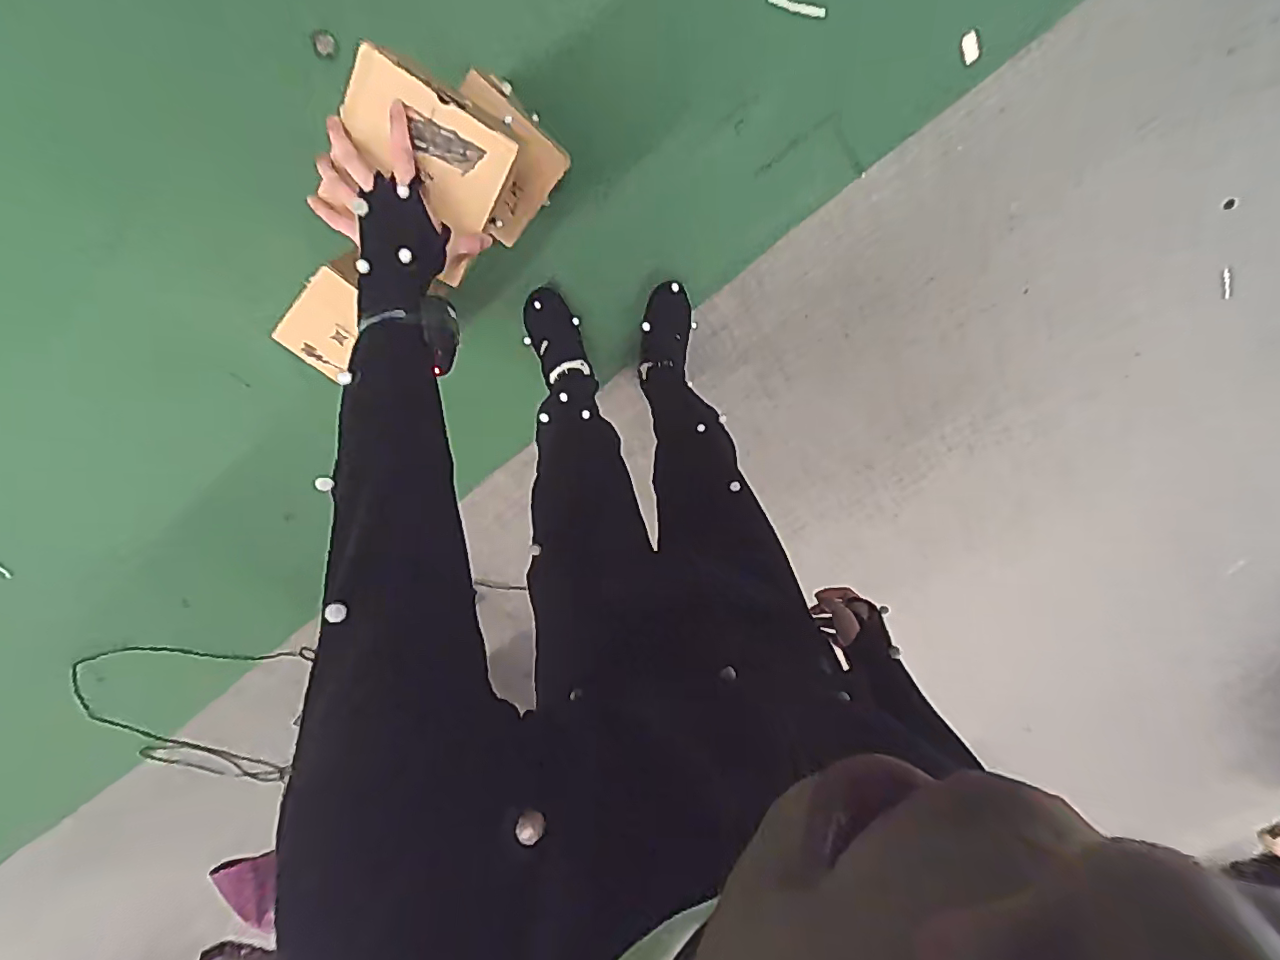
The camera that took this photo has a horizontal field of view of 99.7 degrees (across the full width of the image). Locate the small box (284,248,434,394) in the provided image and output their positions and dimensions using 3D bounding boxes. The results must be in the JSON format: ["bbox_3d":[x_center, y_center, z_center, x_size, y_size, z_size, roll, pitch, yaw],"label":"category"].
[{"bbox_3d":[-0.509,-0.301,1.009,0.179,0.176,0.168,-40,119,19],"label":"small box"}]

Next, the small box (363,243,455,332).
[{"bbox_3d":[-0.520,-0.395,1.143,0.168,0.176,0.179,-37,120,18],"label":"small box"}]

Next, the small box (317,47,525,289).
[{"bbox_3d":[-0.249,-0.370,0.652,0.168,0.176,0.179,26,118,-21],"label":"small box"}]

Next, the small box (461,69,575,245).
[{"bbox_3d":[-0.224,-0.525,0.889,0.179,0.176,0.168,34,115,-26],"label":"small box"}]

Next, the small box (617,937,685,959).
[{"bbox_3d":[0.037,1.531,1.640,0.168,0.176,0.179,37,112,-27],"label":"small box"}]
